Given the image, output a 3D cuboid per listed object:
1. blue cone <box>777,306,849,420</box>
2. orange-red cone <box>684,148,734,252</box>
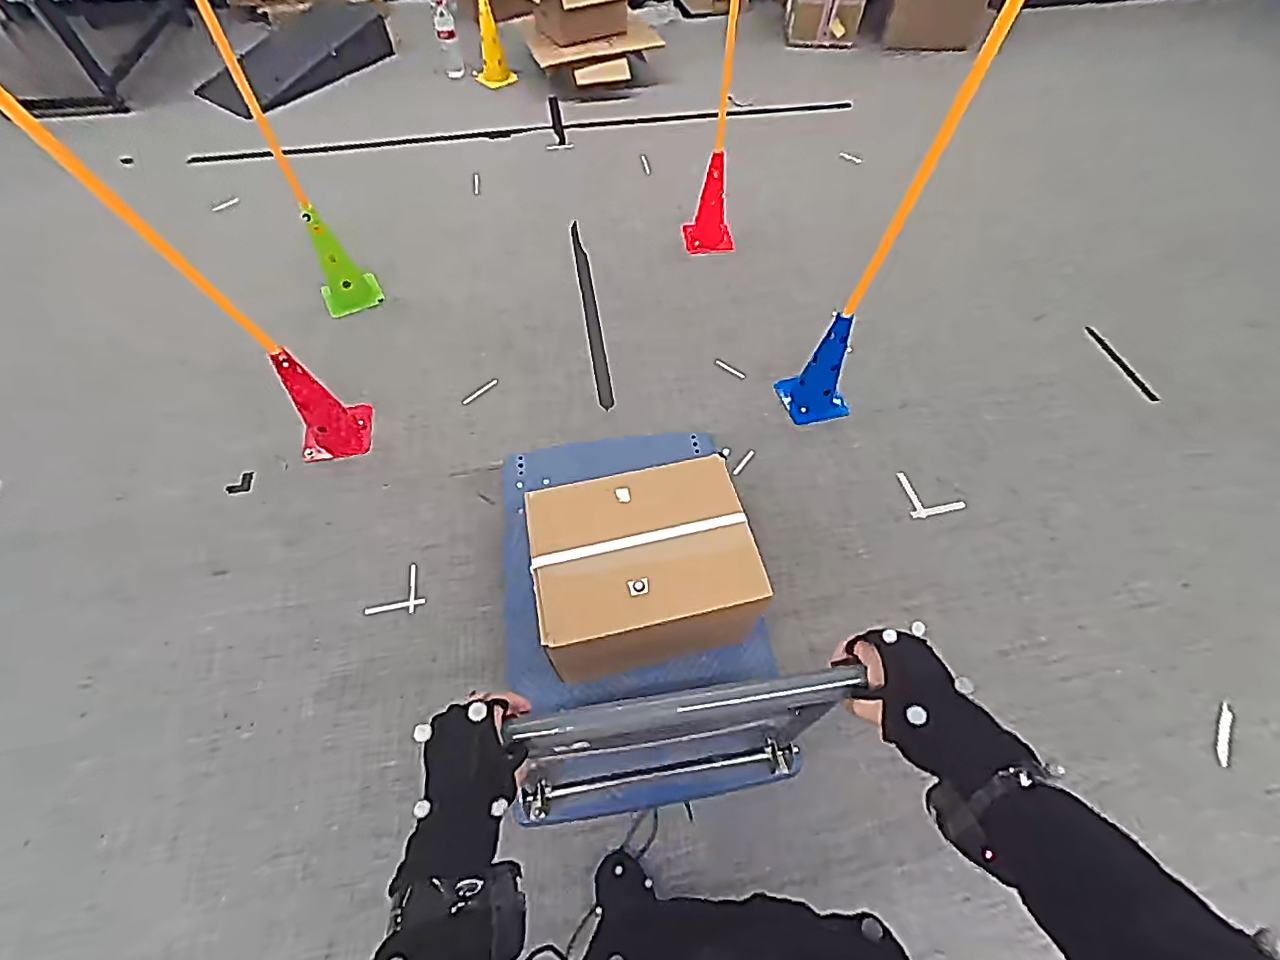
[{"bbox_3d":[0.578,-0.373,1.684,0.193,0.380,0.192,-12,58,-8],"label":"blue cone"},{"bbox_3d":[0.292,-1.114,2.129,0.199,0.360,0.198,-2,58,-3],"label":"orange-red cone"}]
